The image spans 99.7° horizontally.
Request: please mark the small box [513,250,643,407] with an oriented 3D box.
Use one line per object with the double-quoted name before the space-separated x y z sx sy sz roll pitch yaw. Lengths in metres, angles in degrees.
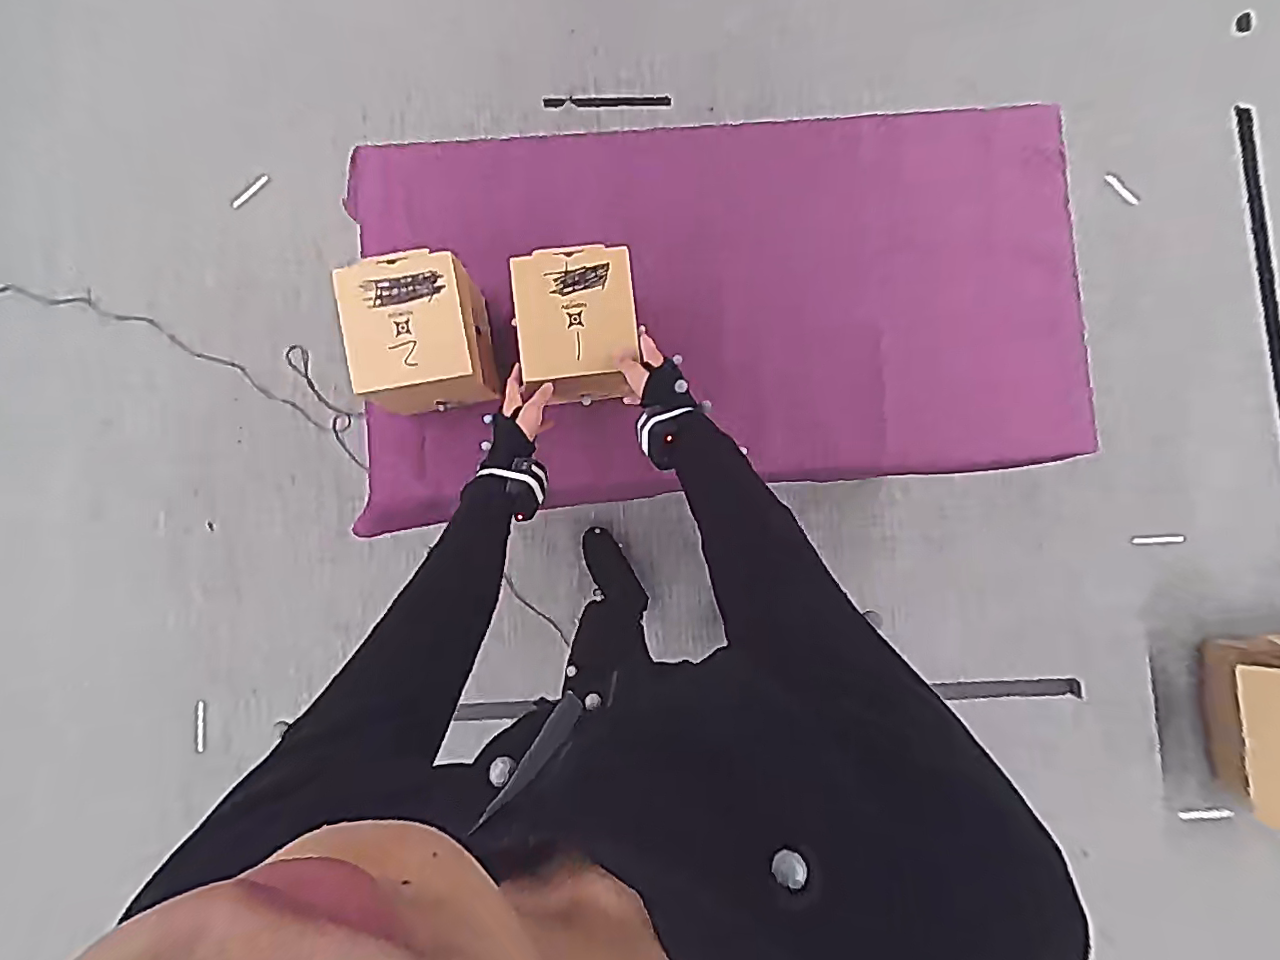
"small box" -0.087 -0.218 0.814 0.168 0.176 0.179 -7 87 0
